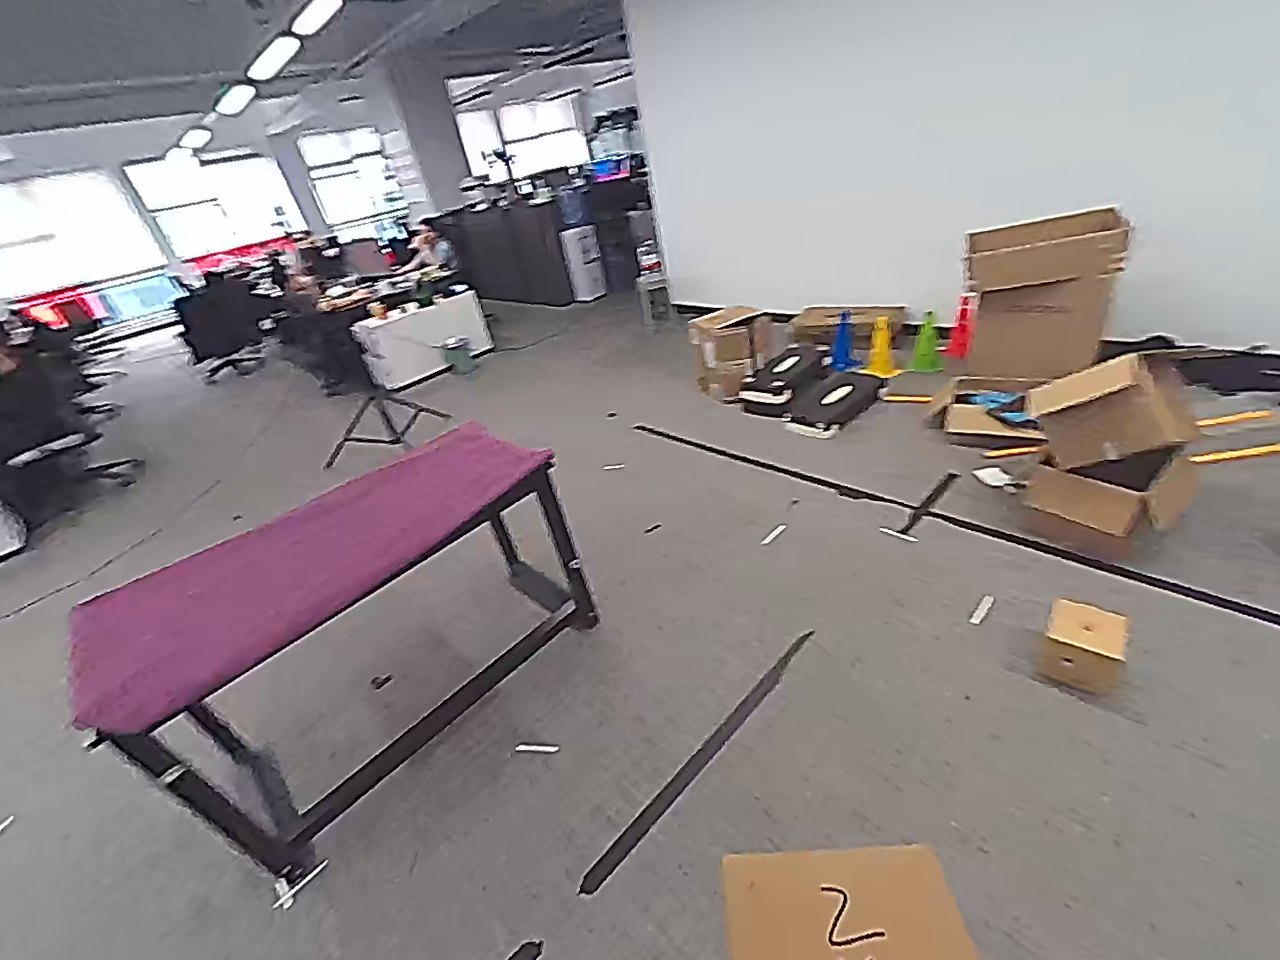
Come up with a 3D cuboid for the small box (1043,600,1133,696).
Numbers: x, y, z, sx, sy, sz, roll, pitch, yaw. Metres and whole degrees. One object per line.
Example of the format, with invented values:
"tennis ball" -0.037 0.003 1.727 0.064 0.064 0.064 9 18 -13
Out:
"small box" 1.293 0.488 1.567 0.168 0.176 0.179 16 41 38
